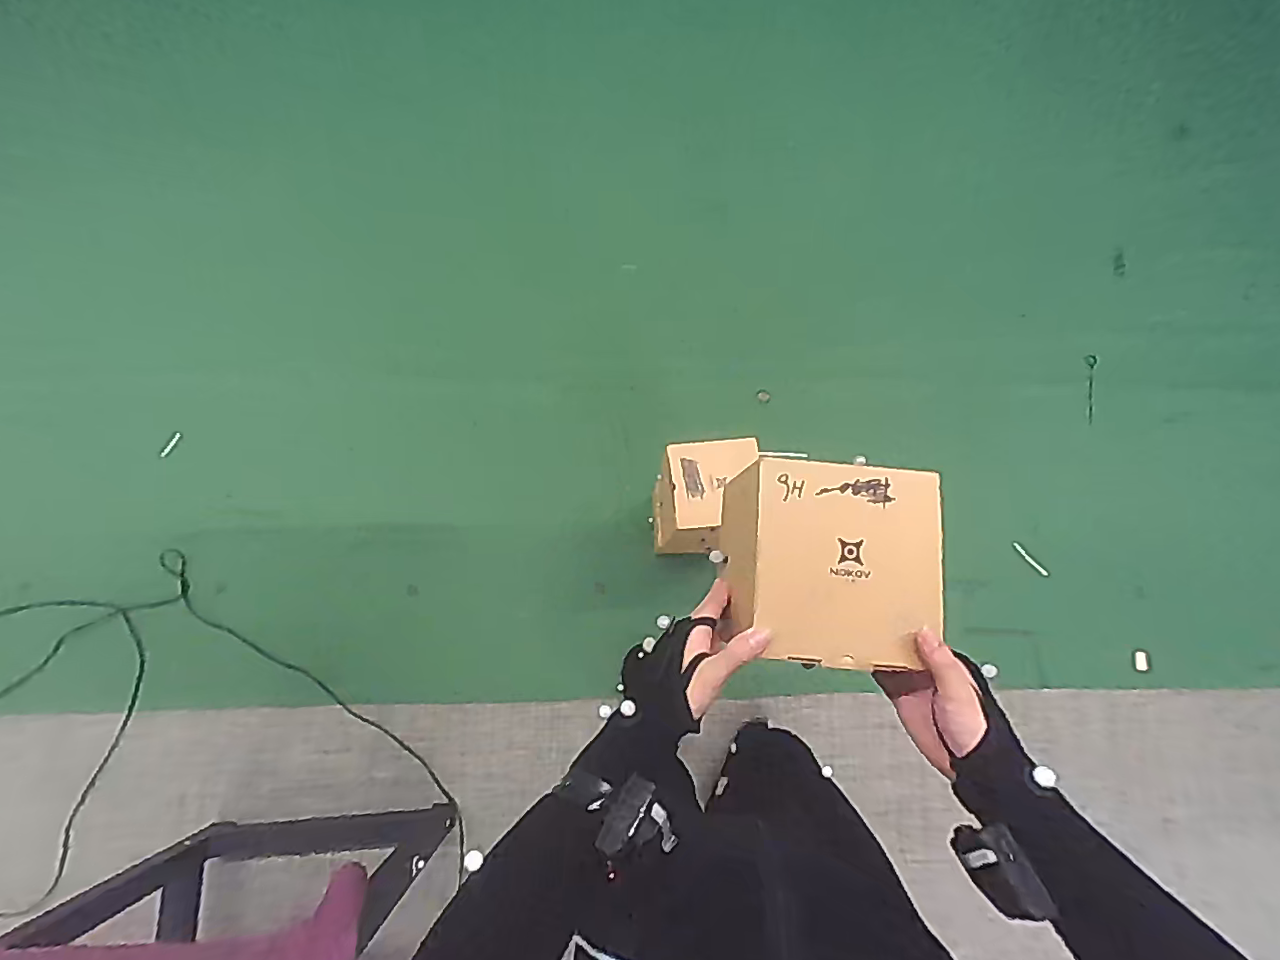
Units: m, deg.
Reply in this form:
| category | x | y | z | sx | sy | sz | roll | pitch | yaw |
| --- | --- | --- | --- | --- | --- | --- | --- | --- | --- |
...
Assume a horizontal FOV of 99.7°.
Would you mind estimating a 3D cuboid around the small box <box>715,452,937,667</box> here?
| category | x | y | z | sx | sy | sz | roll | pitch | yaw |
| --- | --- | --- | --- | --- | --- | --- | --- | --- | --- |
| small box | 0.175 | 0.080 | 0.553 | 0.168 | 0.176 | 0.179 | 6 | 80 | -3 |

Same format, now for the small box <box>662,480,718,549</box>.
| category | x | y | z | sx | sy | sz | roll | pitch | yaw |
| --- | --- | --- | --- | --- | --- | --- | --- | --- | --- |
| small box | 0.148 | 0.067 | 1.254 | 0.179 | 0.176 | 0.168 | -4 | 77 | -1 |

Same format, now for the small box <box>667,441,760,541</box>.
| category | x | y | z | sx | sy | sz | roll | pitch | yaw |
| --- | --- | --- | --- | --- | --- | --- | --- | --- | --- |
| small box | 0.148 | 0.028 | 1.094 | 0.179 | 0.176 | 0.168 | -5 | 77 | -3 |

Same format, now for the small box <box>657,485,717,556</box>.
| category | x | y | z | sx | sy | sz | roll | pitch | yaw |
| --- | --- | --- | --- | --- | --- | --- | --- | --- | --- |
| small box | 0.137 | 0.107 | 1.411 | 0.179 | 0.176 | 0.168 | 0 | 77 | -1 |
